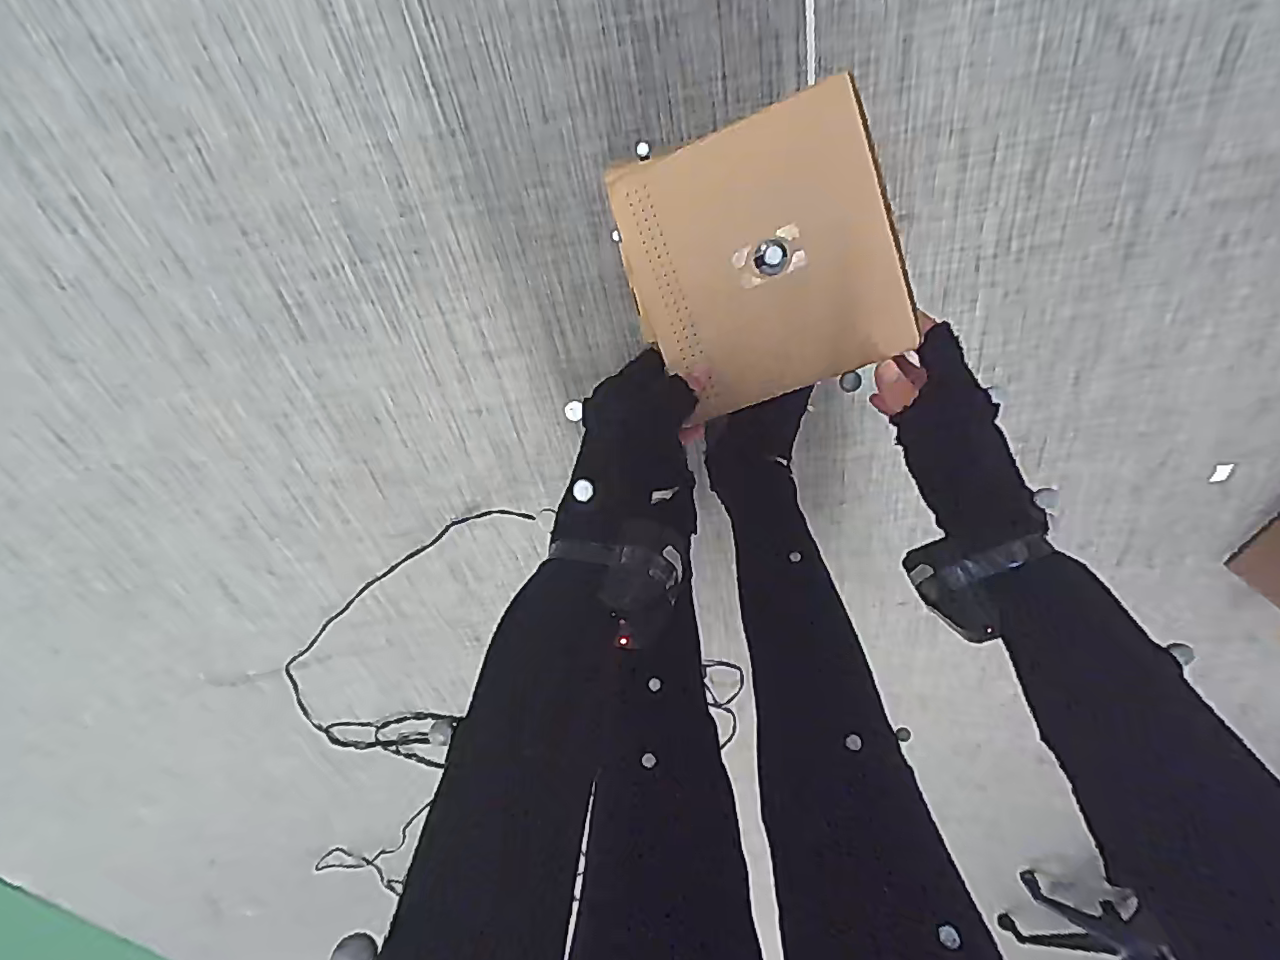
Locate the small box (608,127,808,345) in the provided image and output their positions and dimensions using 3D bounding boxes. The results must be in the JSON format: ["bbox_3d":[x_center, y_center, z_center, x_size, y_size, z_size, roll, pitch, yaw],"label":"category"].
[{"bbox_3d":[0.071,-0.271,0.591,0.179,0.176,0.168,-12,123,8],"label":"small box"}]
